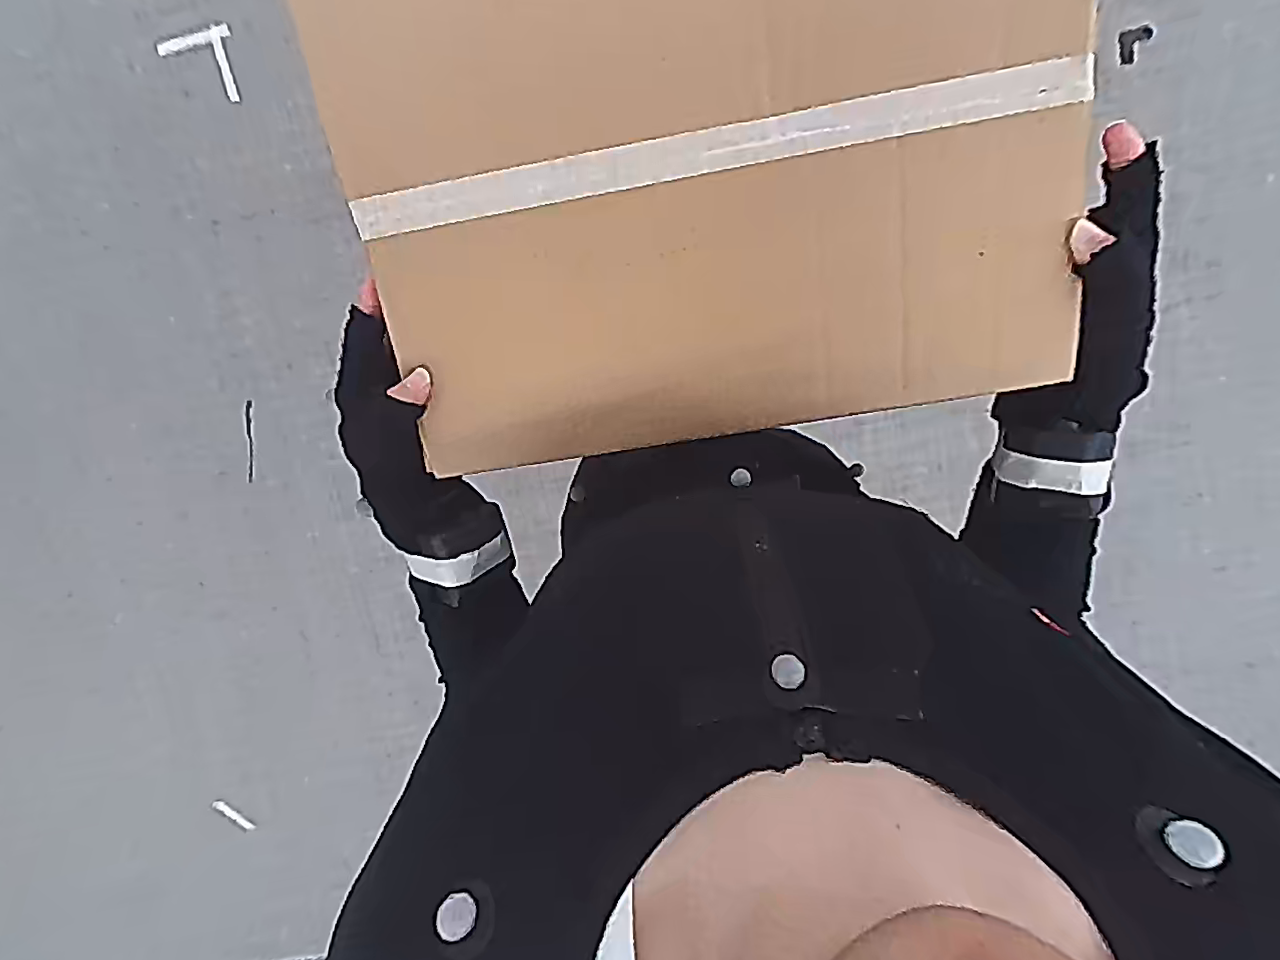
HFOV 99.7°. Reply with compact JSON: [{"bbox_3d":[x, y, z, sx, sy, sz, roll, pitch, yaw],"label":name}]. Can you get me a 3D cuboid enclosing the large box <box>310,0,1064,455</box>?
[{"bbox_3d":[0.035,-0.233,0.453,0.408,0.320,0.320,-9,107,4],"label":"large box"}]
